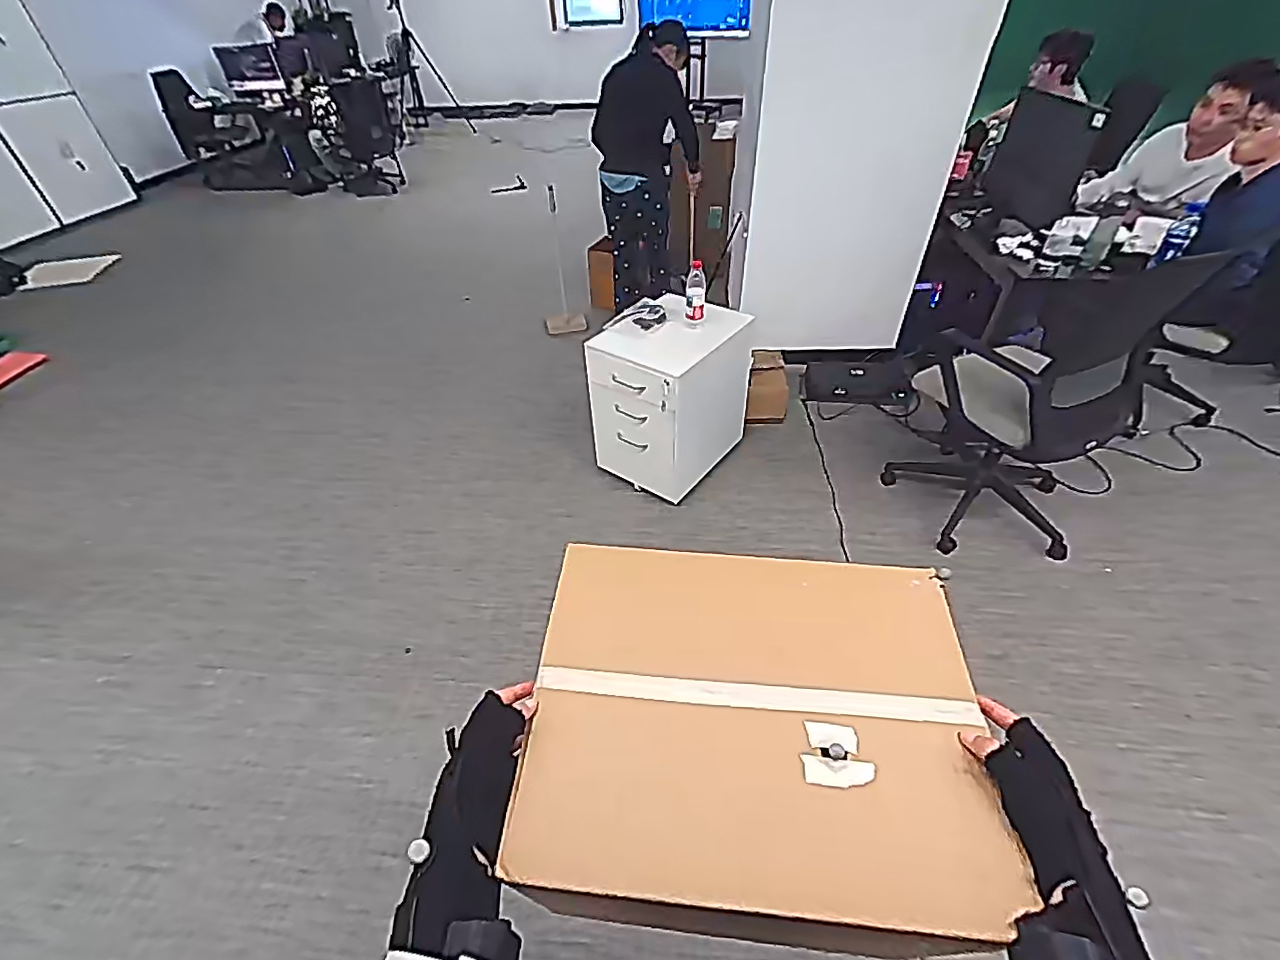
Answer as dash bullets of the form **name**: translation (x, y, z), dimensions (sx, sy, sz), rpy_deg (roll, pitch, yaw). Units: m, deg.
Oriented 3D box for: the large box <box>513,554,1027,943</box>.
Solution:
- **large box**: translation (0.107, 0.308, 0.624), dimensions (0.408, 0.320, 0.320), rpy_deg (3, 49, 5)
